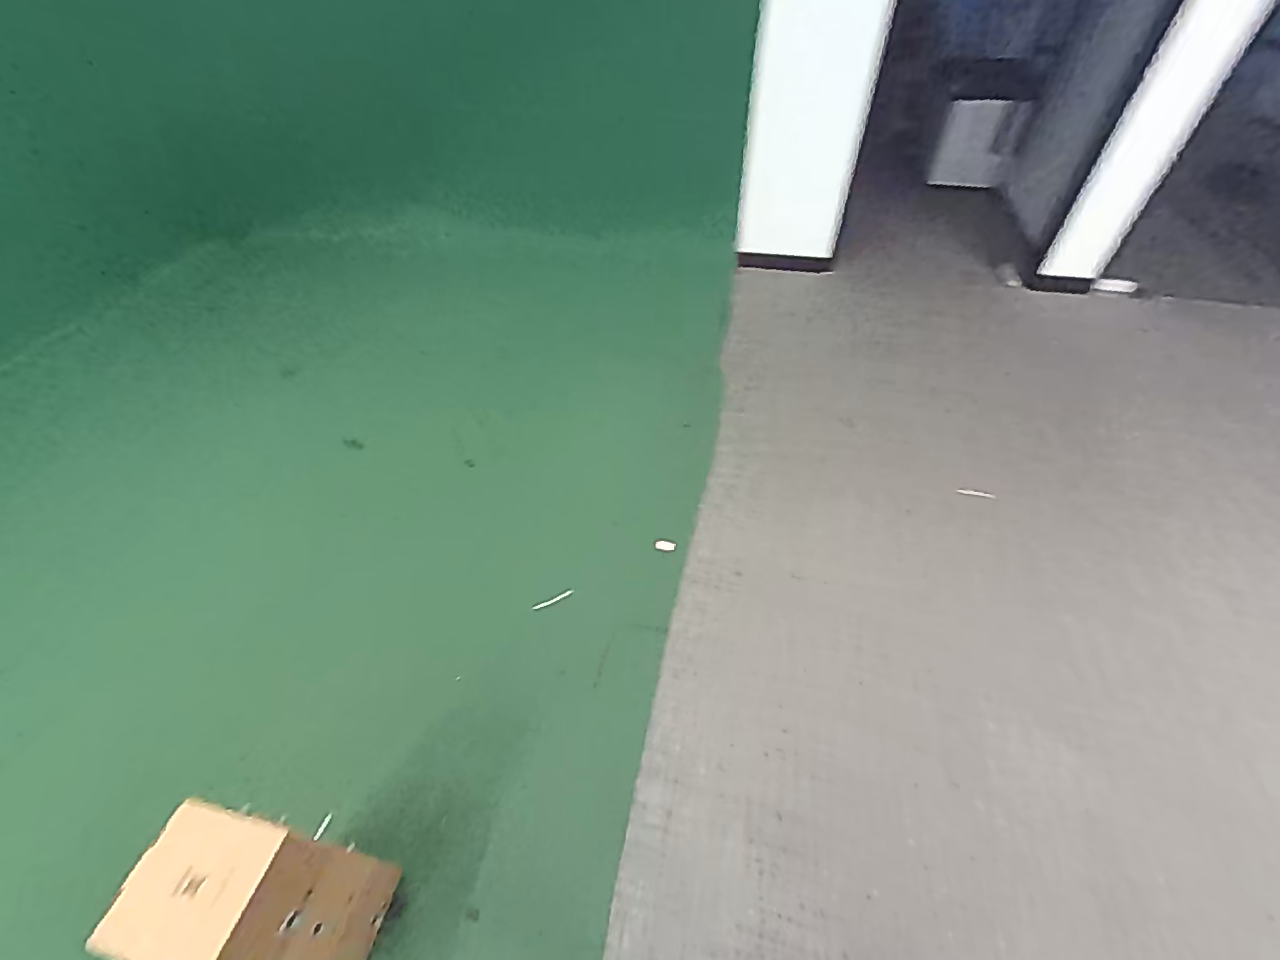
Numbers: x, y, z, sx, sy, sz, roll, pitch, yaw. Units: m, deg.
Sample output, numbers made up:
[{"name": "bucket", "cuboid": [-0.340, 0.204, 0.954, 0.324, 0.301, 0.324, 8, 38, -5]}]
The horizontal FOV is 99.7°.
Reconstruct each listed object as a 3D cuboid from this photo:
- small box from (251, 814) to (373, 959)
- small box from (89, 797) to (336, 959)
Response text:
[{"name": "small box", "cuboid": [-0.583, 0.680, 0.892, 0.179, 0.176, 0.168, 10, 50, 11]}, {"name": "small box", "cuboid": [-0.582, 0.577, 0.767, 0.179, 0.176, 0.168, 9, 51, 9]}]
